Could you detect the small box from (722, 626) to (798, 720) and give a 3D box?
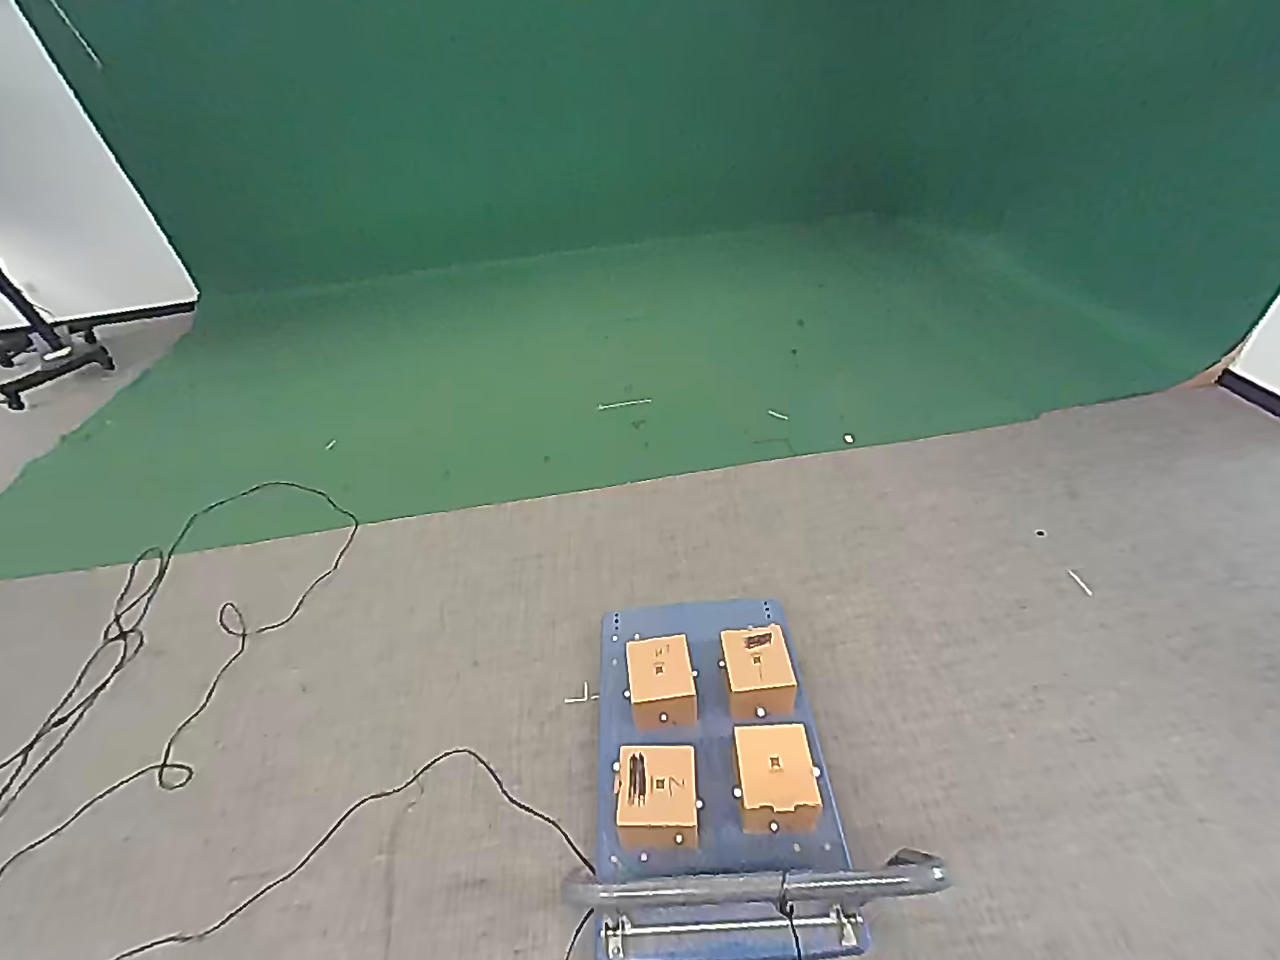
[{"bbox_3d":[0.316,0.522,1.462,0.168,0.176,0.179,-7,43,2],"label":"small box"}]

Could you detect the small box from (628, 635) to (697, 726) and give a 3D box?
[{"bbox_3d":[0.061,0.550,1.466,0.168,0.176,0.179,-7,42,-1],"label":"small box"}]

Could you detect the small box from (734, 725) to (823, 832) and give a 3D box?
[{"bbox_3d":[0.314,0.700,1.269,0.168,0.176,0.179,-4,43,3],"label":"small box"}]
